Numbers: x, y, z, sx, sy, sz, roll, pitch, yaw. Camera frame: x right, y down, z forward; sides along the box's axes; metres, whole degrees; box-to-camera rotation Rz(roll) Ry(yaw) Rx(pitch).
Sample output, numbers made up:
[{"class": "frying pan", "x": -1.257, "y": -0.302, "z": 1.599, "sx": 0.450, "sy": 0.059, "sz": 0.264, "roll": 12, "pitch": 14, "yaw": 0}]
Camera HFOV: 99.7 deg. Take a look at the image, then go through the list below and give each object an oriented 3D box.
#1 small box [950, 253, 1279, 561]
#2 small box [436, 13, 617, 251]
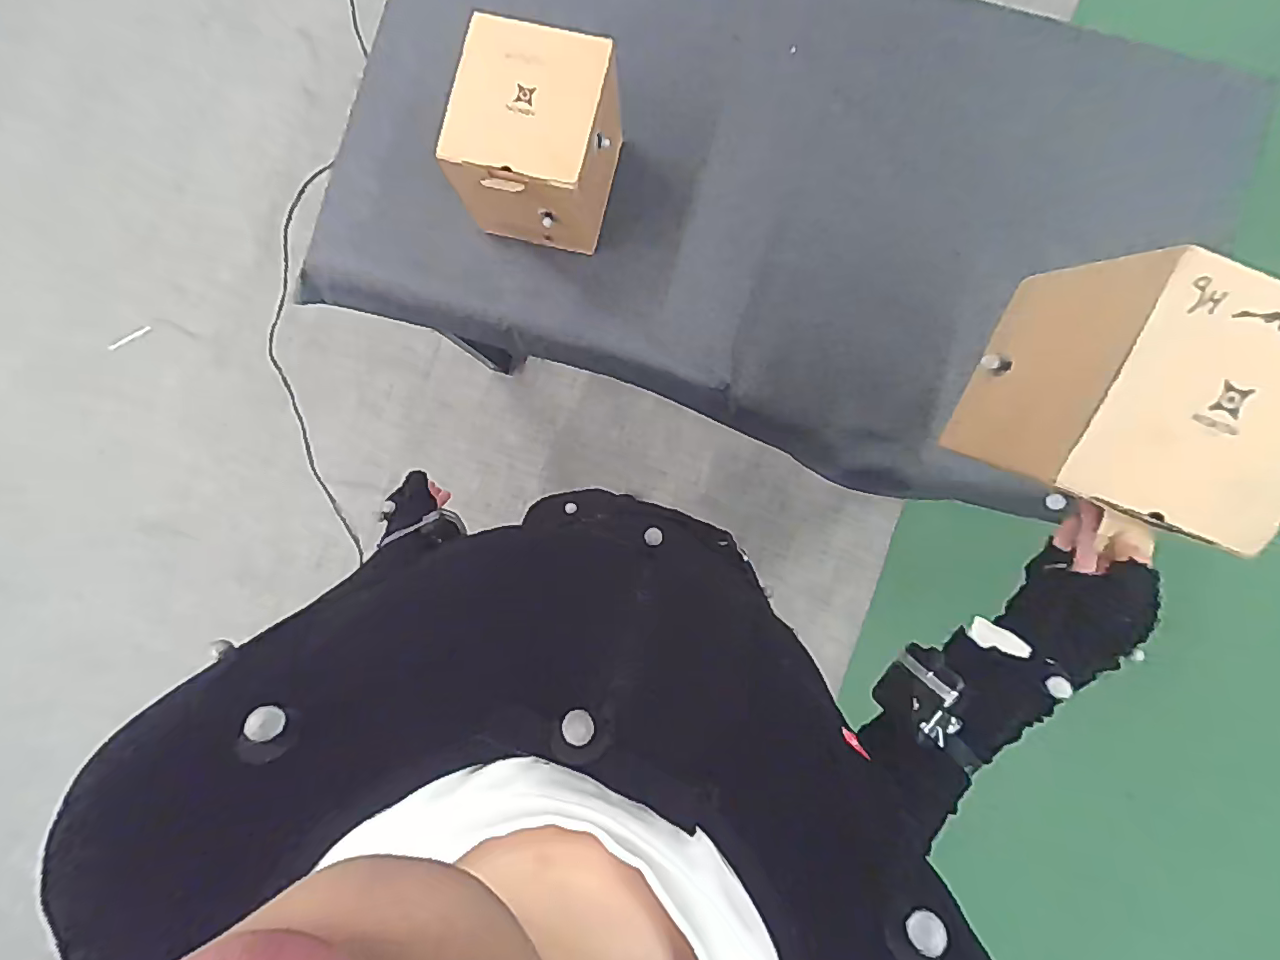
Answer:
[{"class": "small box", "x": 0.403, "y": -0.064, "z": 0.457, "sx": 0.168, "sy": 0.176, "sz": 0.179, "roll": 20, "pitch": 104, "yaw": -4}, {"class": "small box", "x": -0.128, "y": -0.418, "z": 0.681, "sx": 0.168, "sy": 0.176, "sz": 0.179, "roll": 13, "pitch": 87, "yaw": 1}]
